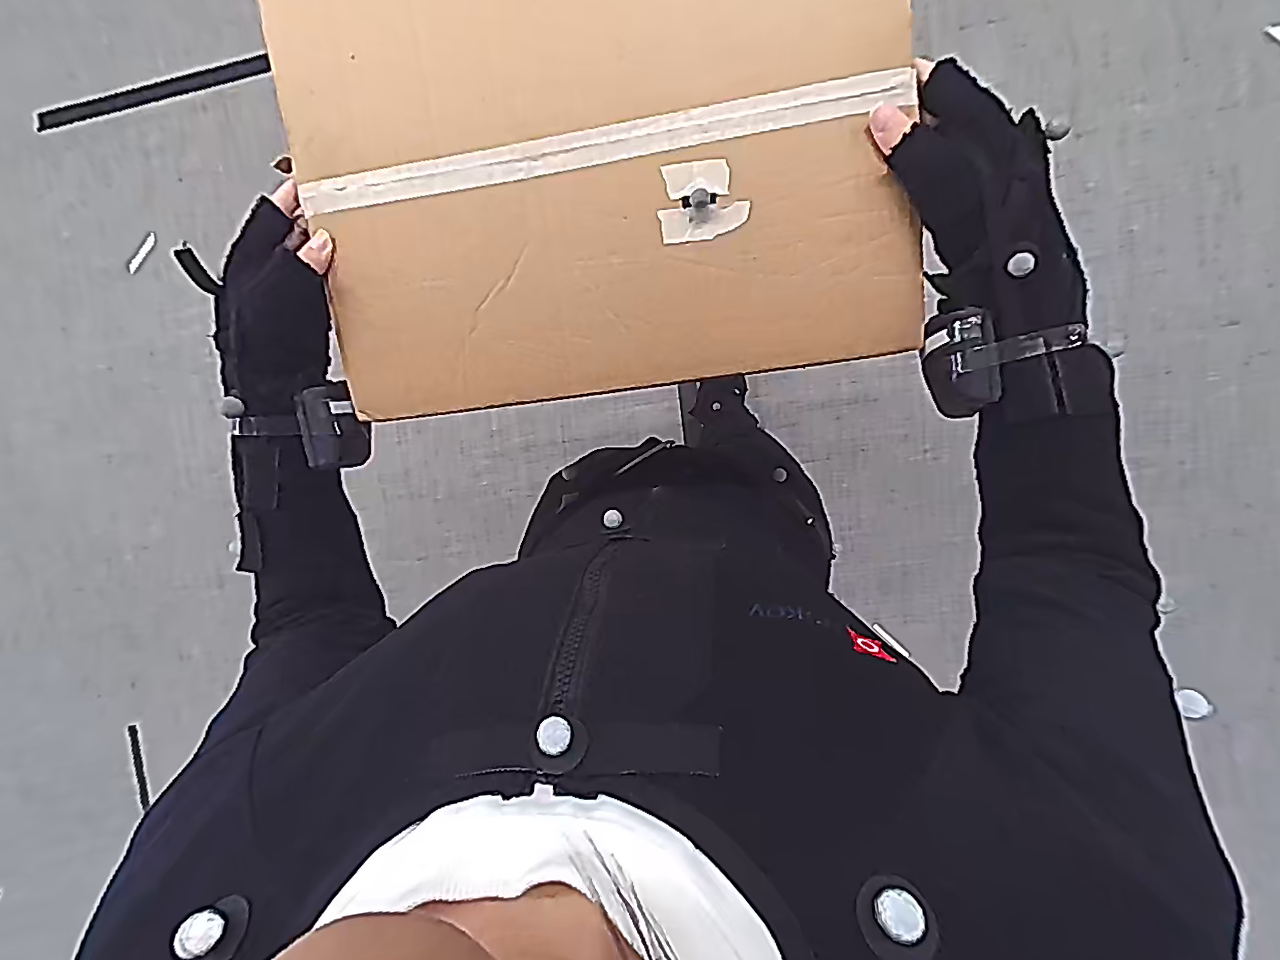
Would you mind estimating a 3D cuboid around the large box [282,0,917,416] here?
[{"bbox_3d":[-0.016,-0.253,0.512,0.408,0.320,0.320,-7,102,6],"label":"large box"}]
